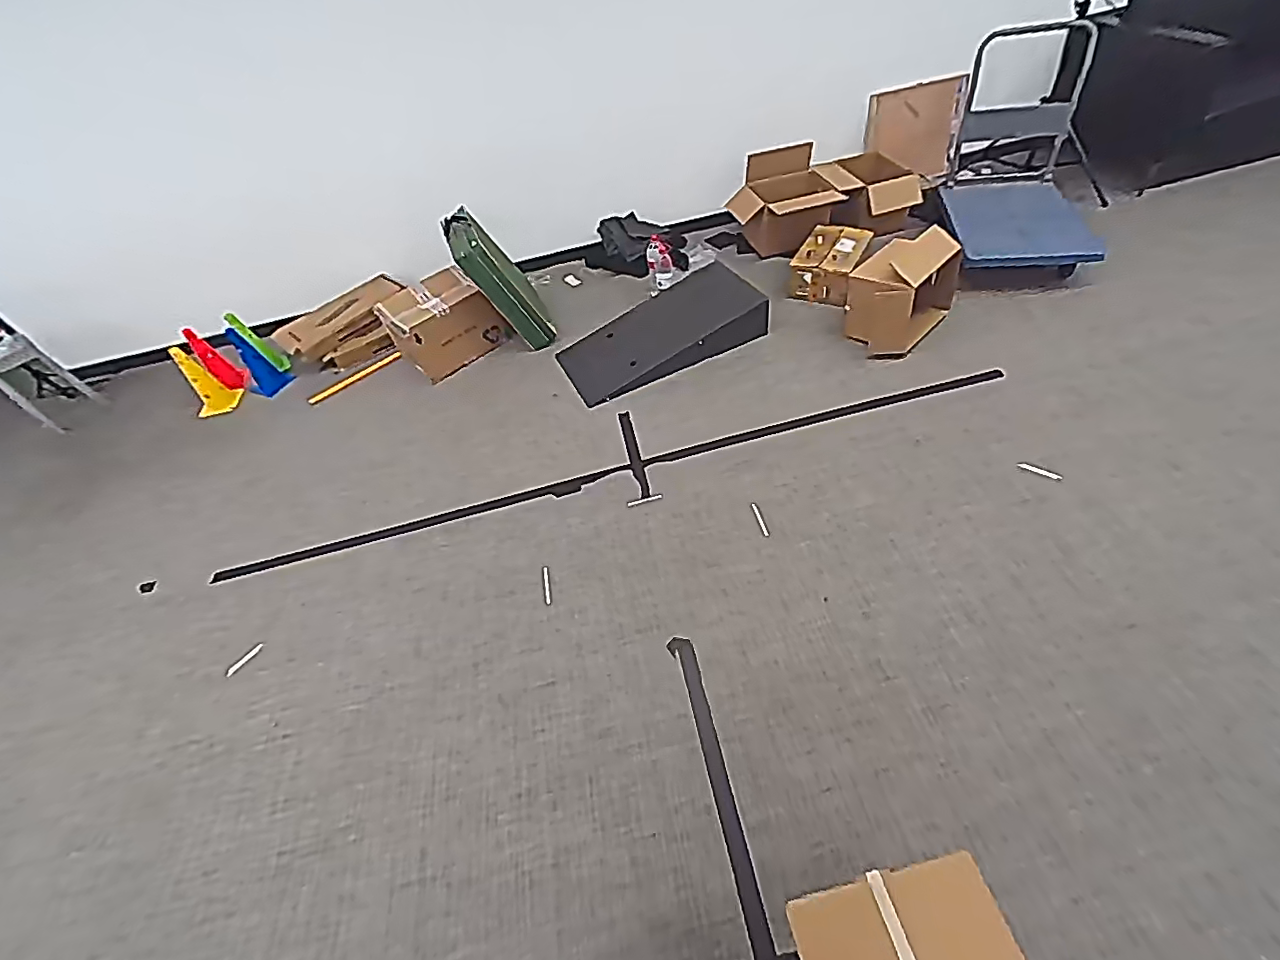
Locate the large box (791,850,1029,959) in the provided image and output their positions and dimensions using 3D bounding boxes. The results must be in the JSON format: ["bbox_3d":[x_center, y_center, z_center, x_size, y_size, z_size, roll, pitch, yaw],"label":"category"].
[{"bbox_3d":[0.468,0.877,0.864,0.320,0.320,0.408,-20,49,4],"label":"large box"}]
